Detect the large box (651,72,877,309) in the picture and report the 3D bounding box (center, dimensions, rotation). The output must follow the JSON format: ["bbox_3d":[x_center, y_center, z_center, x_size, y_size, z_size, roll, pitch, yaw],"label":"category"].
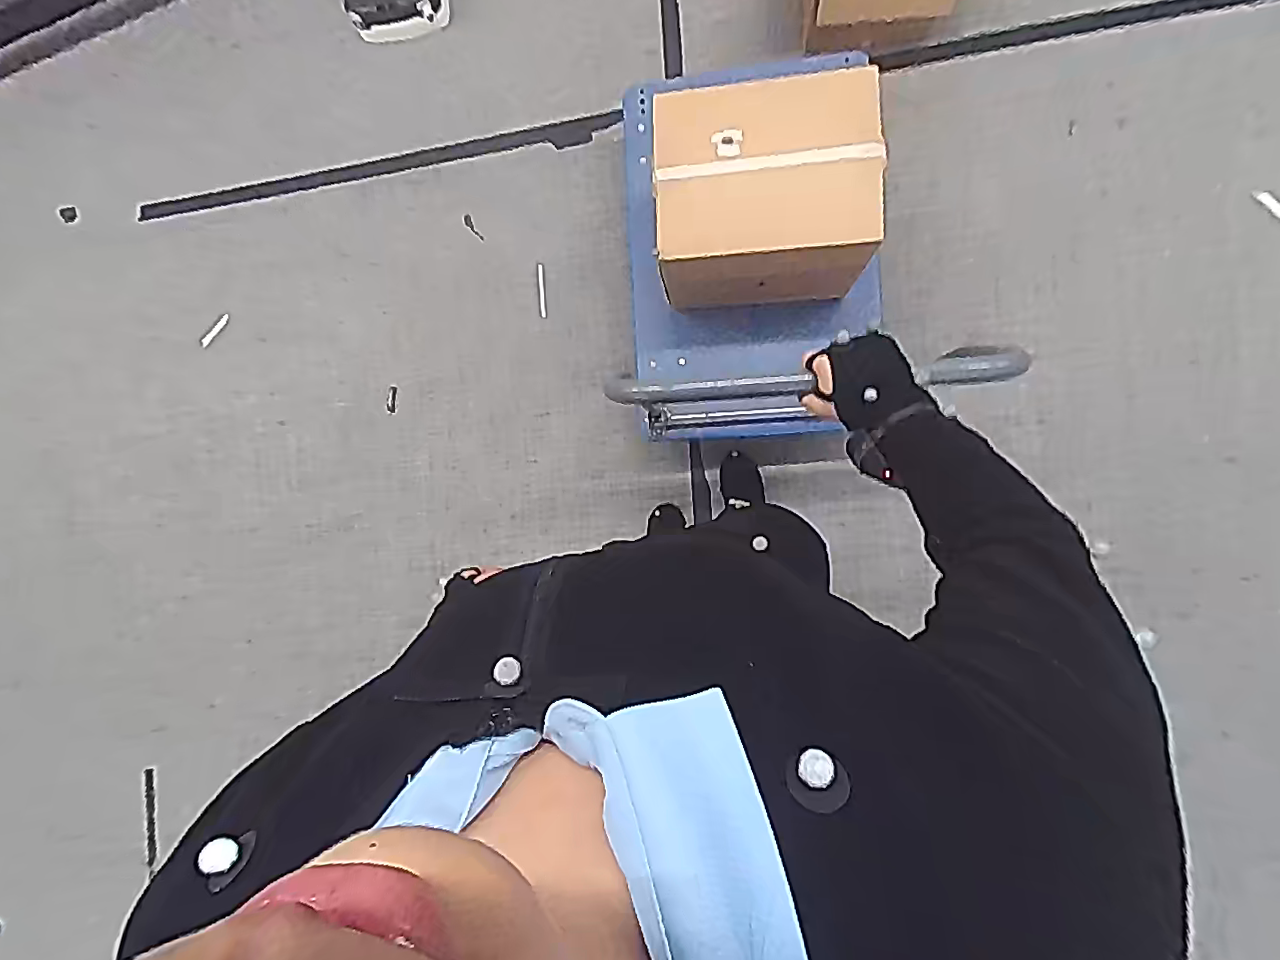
[{"bbox_3d":[0.250,-0.575,1.150,0.408,0.320,0.320,-2,89,9],"label":"large box"}]
